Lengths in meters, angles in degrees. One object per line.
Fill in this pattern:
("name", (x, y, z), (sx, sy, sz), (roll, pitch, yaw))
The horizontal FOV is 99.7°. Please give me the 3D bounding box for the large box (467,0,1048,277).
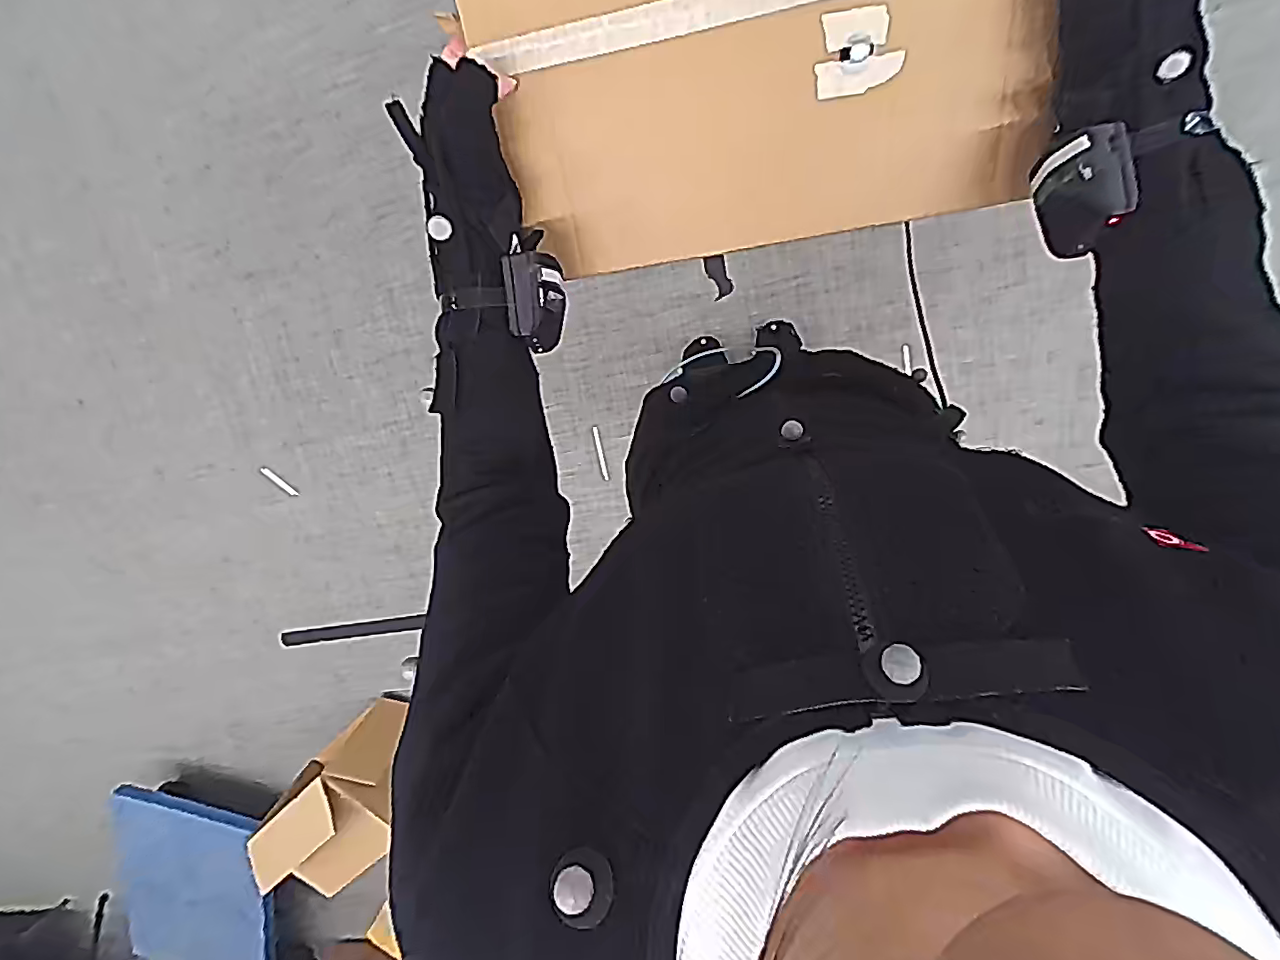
("large box", (0.085, -0.404, 0.511), (0.408, 0.320, 0.320), (-7, 117, 8))
